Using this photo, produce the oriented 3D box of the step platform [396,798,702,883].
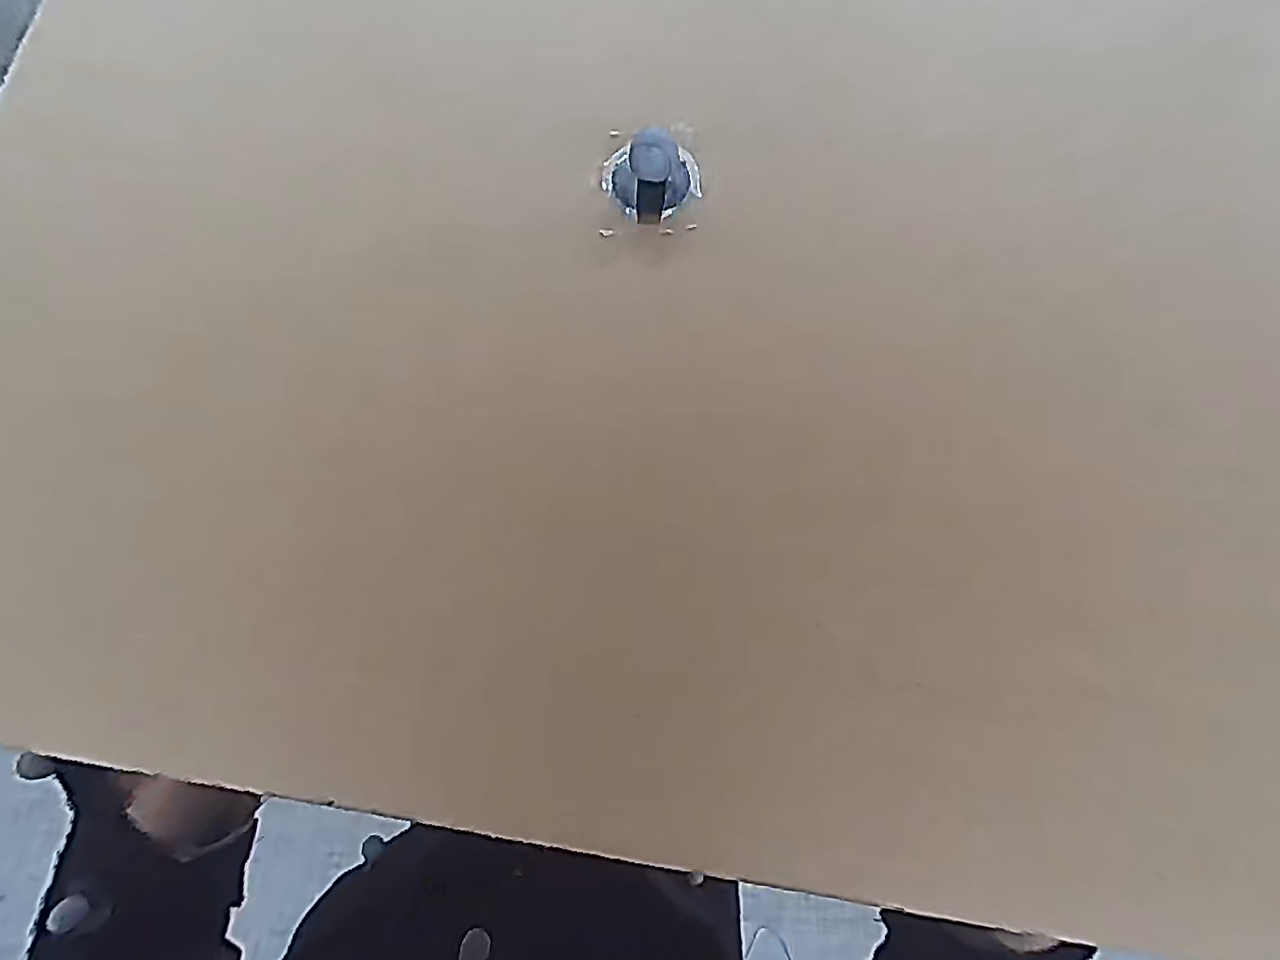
[{"bbox_3d":[-0.177,0.666,1.224,0.684,0.204,0.286,10,72,2],"label":"step platform"}]
